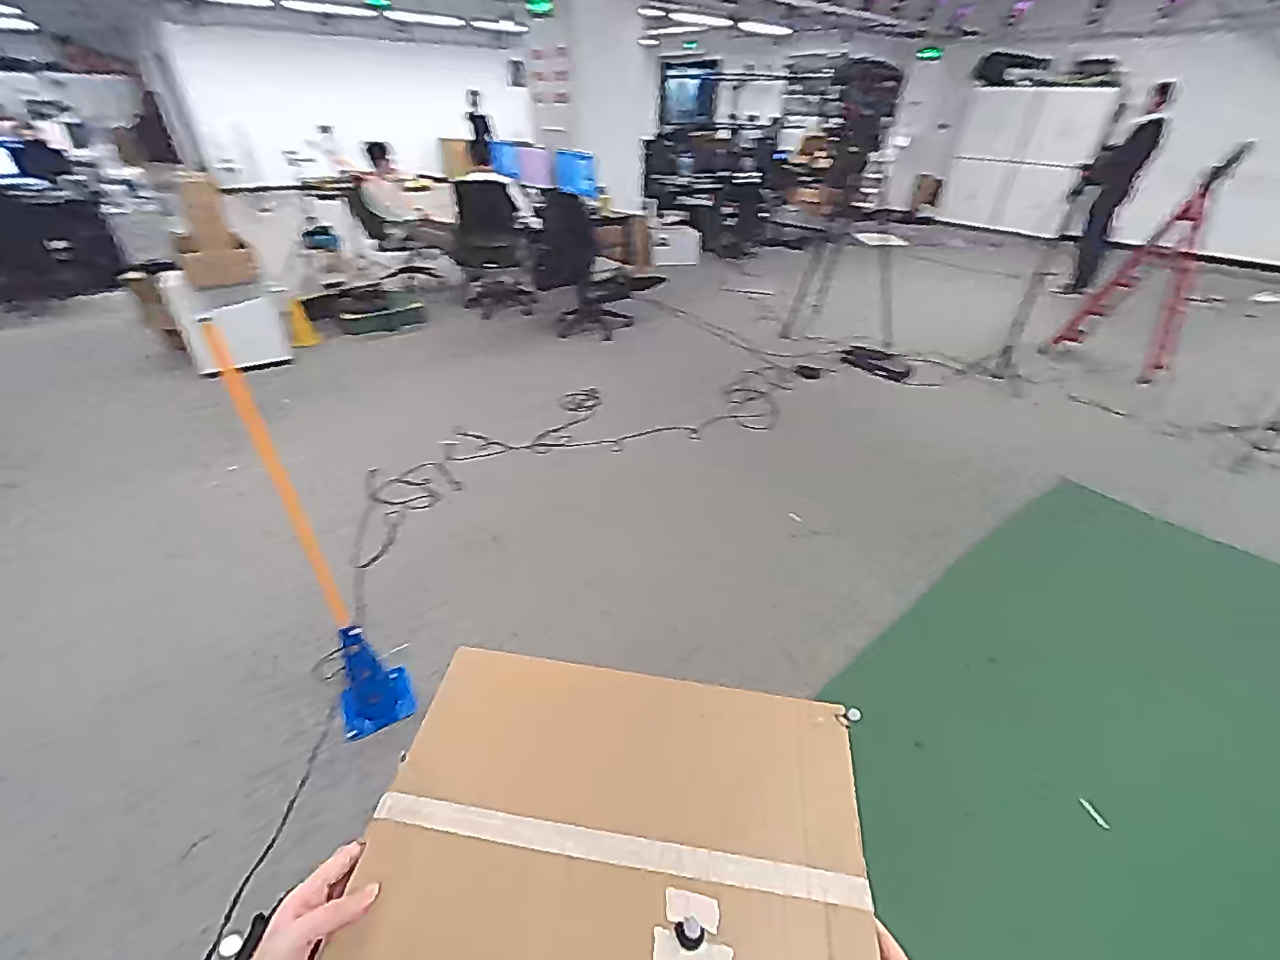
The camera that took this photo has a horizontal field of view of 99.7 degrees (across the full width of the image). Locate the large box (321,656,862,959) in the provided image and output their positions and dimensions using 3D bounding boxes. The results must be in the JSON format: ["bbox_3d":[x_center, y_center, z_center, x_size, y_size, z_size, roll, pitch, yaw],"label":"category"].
[{"bbox_3d":[-0.030,0.418,0.550,0.408,0.320,0.320,7,42,5],"label":"large box"}]

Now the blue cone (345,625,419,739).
[{"bbox_3d":[-0.800,0.559,1.593,0.193,0.380,0.192,-17,39,-25],"label":"blue cone"}]
